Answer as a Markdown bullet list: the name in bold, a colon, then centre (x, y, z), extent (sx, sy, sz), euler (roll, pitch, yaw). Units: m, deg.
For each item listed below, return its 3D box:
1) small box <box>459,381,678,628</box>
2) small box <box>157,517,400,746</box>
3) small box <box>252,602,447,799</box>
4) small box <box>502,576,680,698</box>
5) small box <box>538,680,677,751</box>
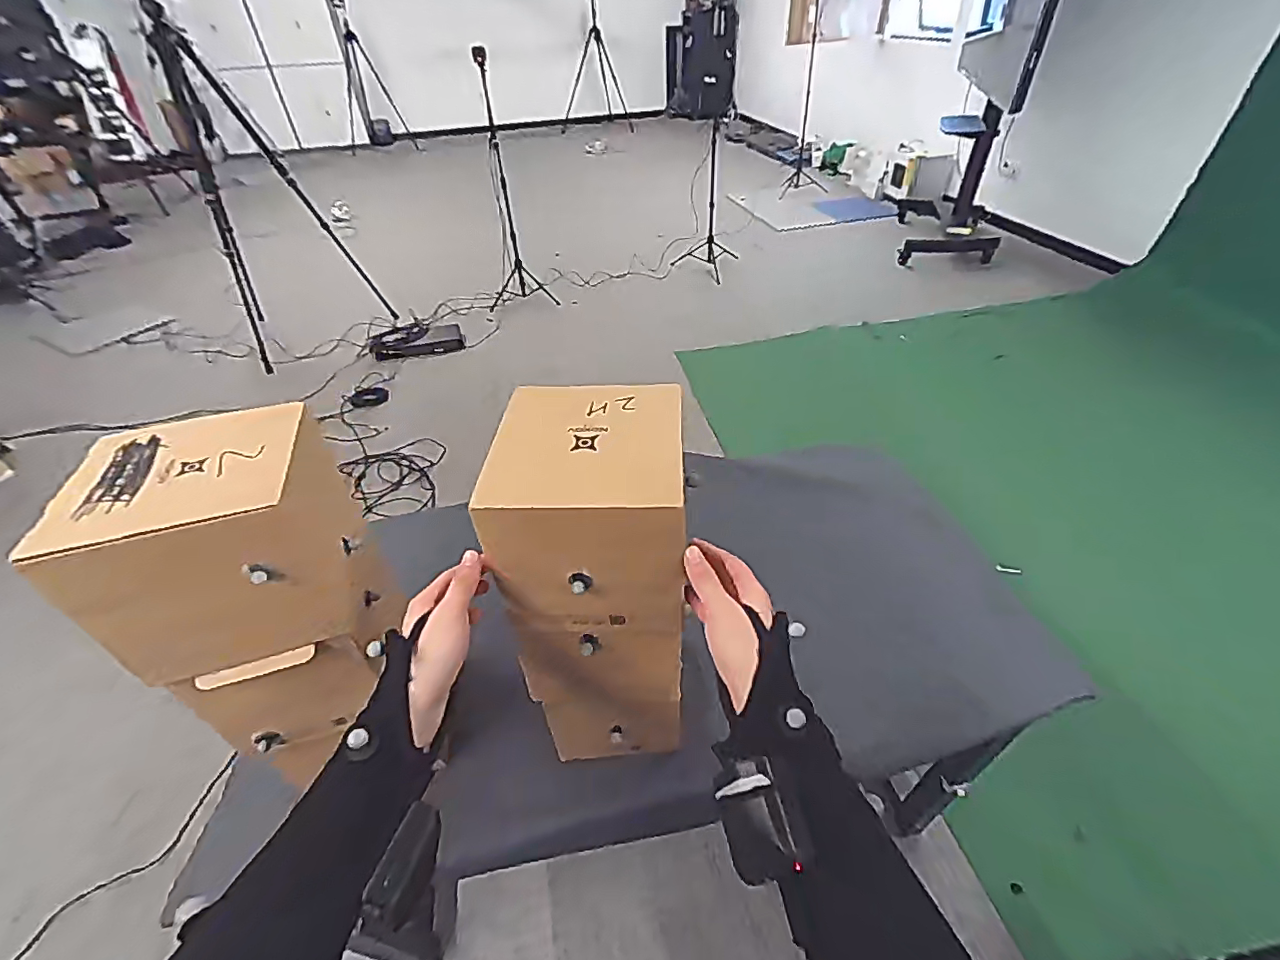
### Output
- **small box**: centre (-0.048, 0.025, 0.517), extent (0.168, 0.176, 0.179), euler (-1, 41, 4)
- **small box**: centre (-0.386, 0.176, 0.621), extent (0.168, 0.176, 0.179), euler (-14, 41, -13)
- **small box**: centre (-0.369, 0.296, 0.732), extent (0.179, 0.176, 0.168), euler (-12, 41, -9)
- **small box**: centre (-0.043, 0.140, 0.635), extent (0.179, 0.176, 0.168), euler (-2, 41, 3)
- **small box**: centre (-0.039, 0.257, 0.750), extent (0.168, 0.176, 0.179), euler (-5, 42, -1)
